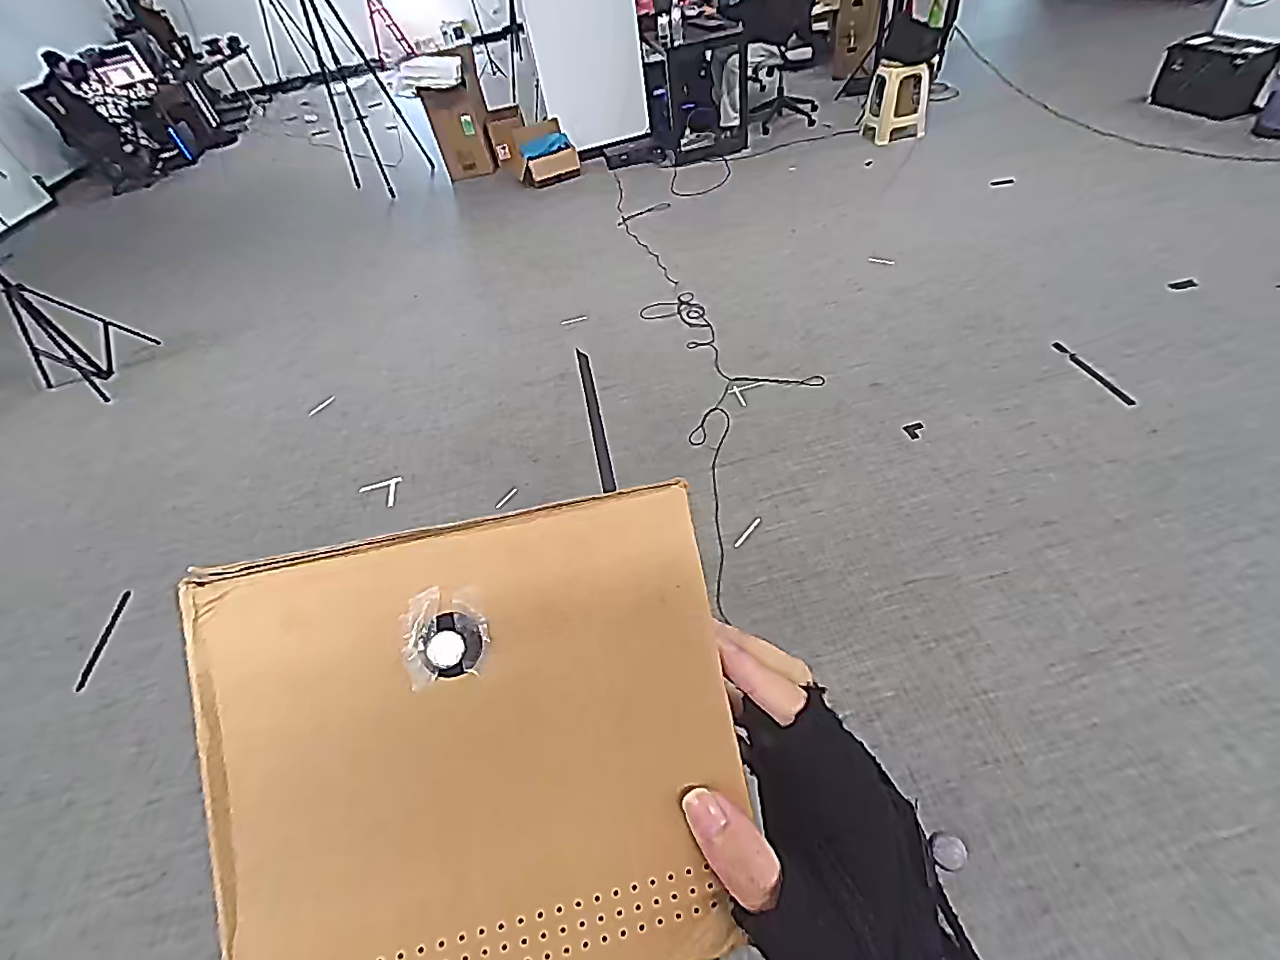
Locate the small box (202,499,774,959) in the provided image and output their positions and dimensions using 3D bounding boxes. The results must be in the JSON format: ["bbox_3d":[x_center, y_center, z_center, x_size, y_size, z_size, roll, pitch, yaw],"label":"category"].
[{"bbox_3d":[-0.057,0.113,0.262,0.179,0.168,0.176,-10,85,-7],"label":"small box"}]
